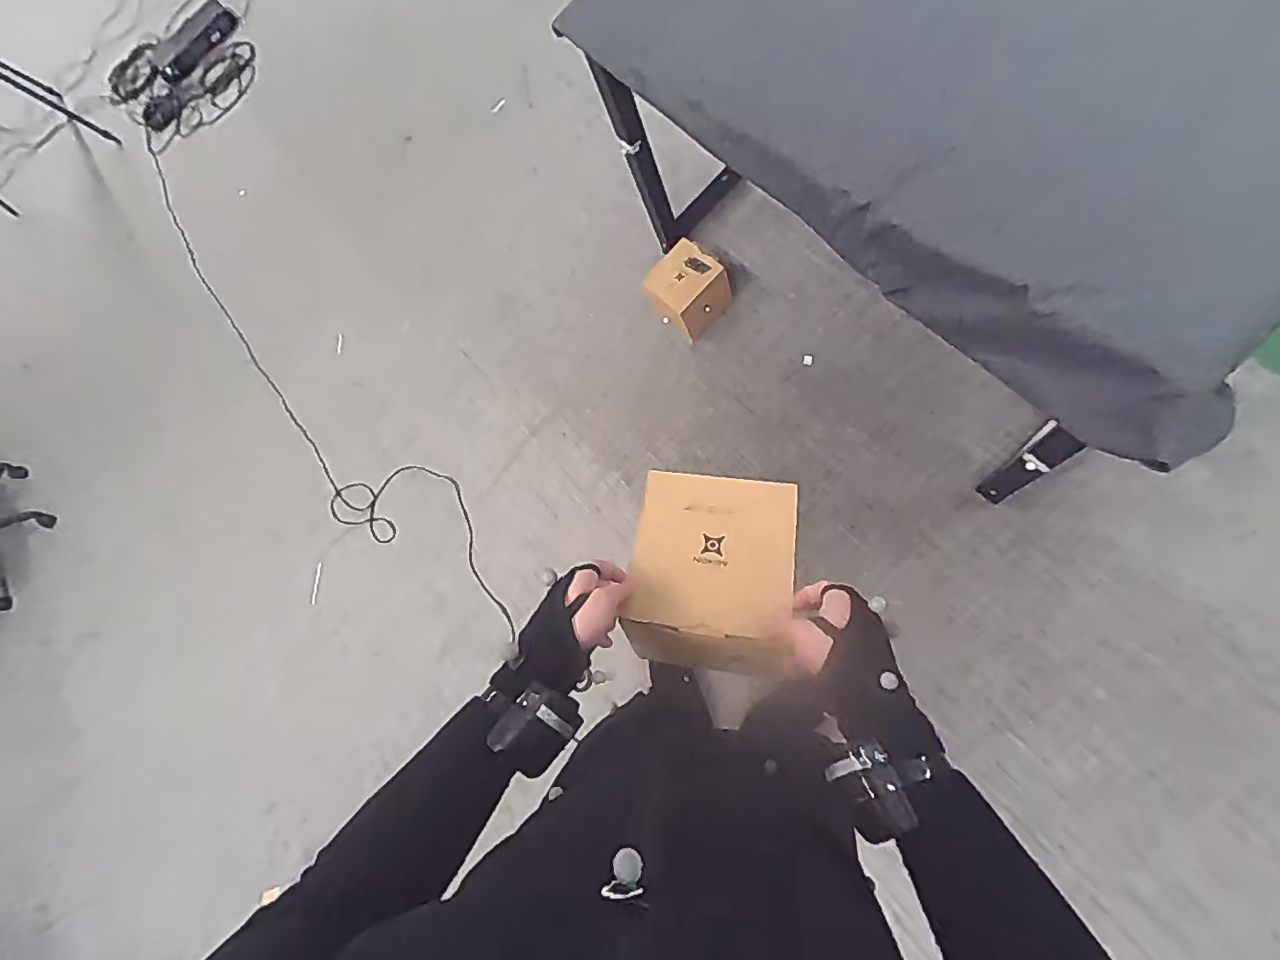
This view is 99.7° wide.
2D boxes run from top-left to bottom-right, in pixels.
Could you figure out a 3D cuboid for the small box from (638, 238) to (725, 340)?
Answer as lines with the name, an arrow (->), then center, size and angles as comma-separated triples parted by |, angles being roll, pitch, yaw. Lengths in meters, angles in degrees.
small box -> 0.127, -0.542, 1.551 | 0.179, 0.176, 0.168 | -46, 68, 3
